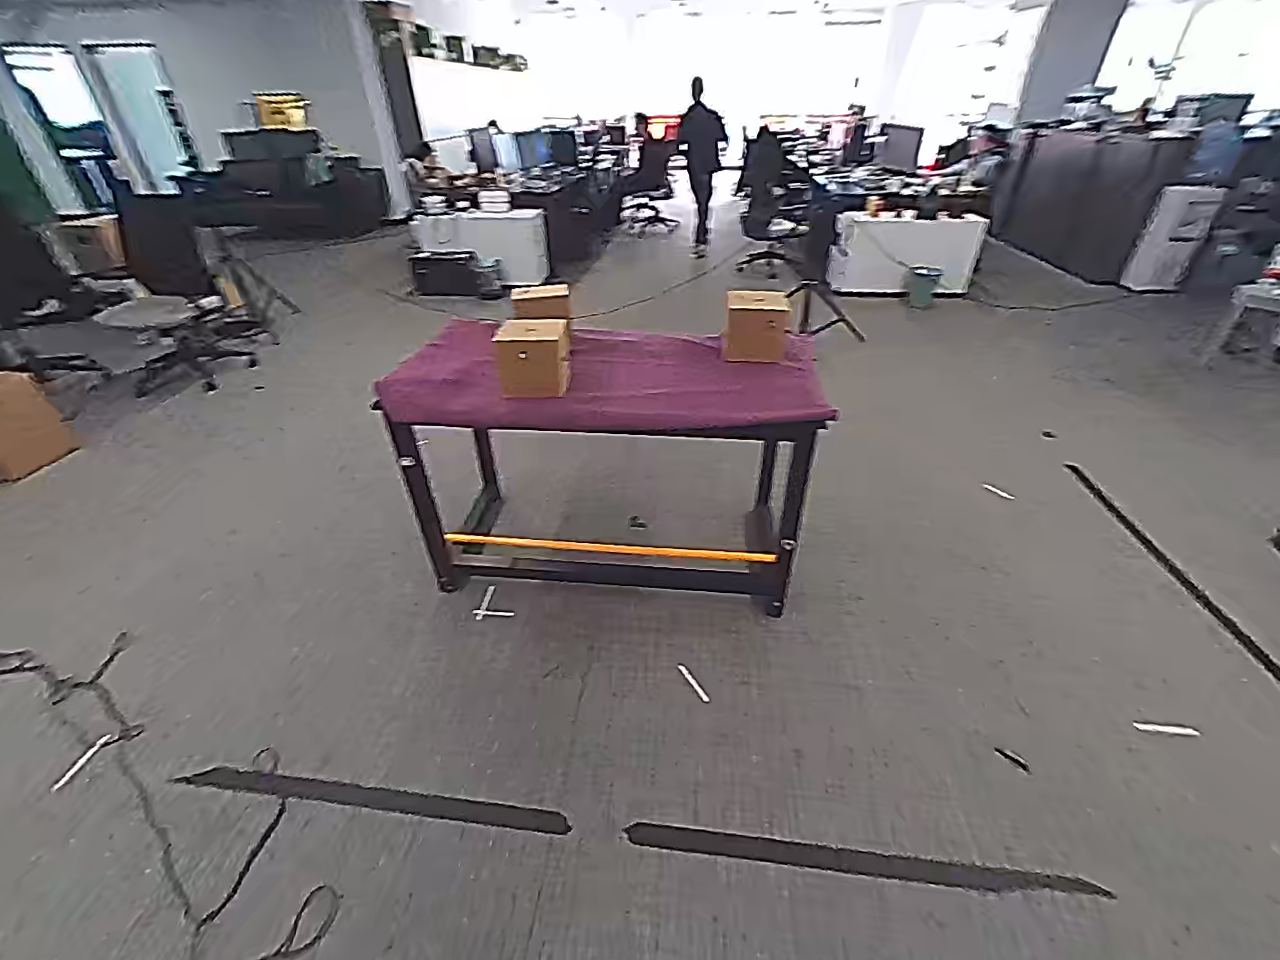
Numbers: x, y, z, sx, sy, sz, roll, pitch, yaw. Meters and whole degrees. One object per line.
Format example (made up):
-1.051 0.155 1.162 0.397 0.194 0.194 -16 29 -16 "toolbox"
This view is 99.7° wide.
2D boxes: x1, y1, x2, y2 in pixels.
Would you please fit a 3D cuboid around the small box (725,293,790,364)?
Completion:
0.361 -0.472 1.688 0.179 0.176 0.168 3 36 5 "small box"

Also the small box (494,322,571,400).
-0.290 -0.331 1.511 0.179 0.176 0.168 -1 34 1 "small box"
